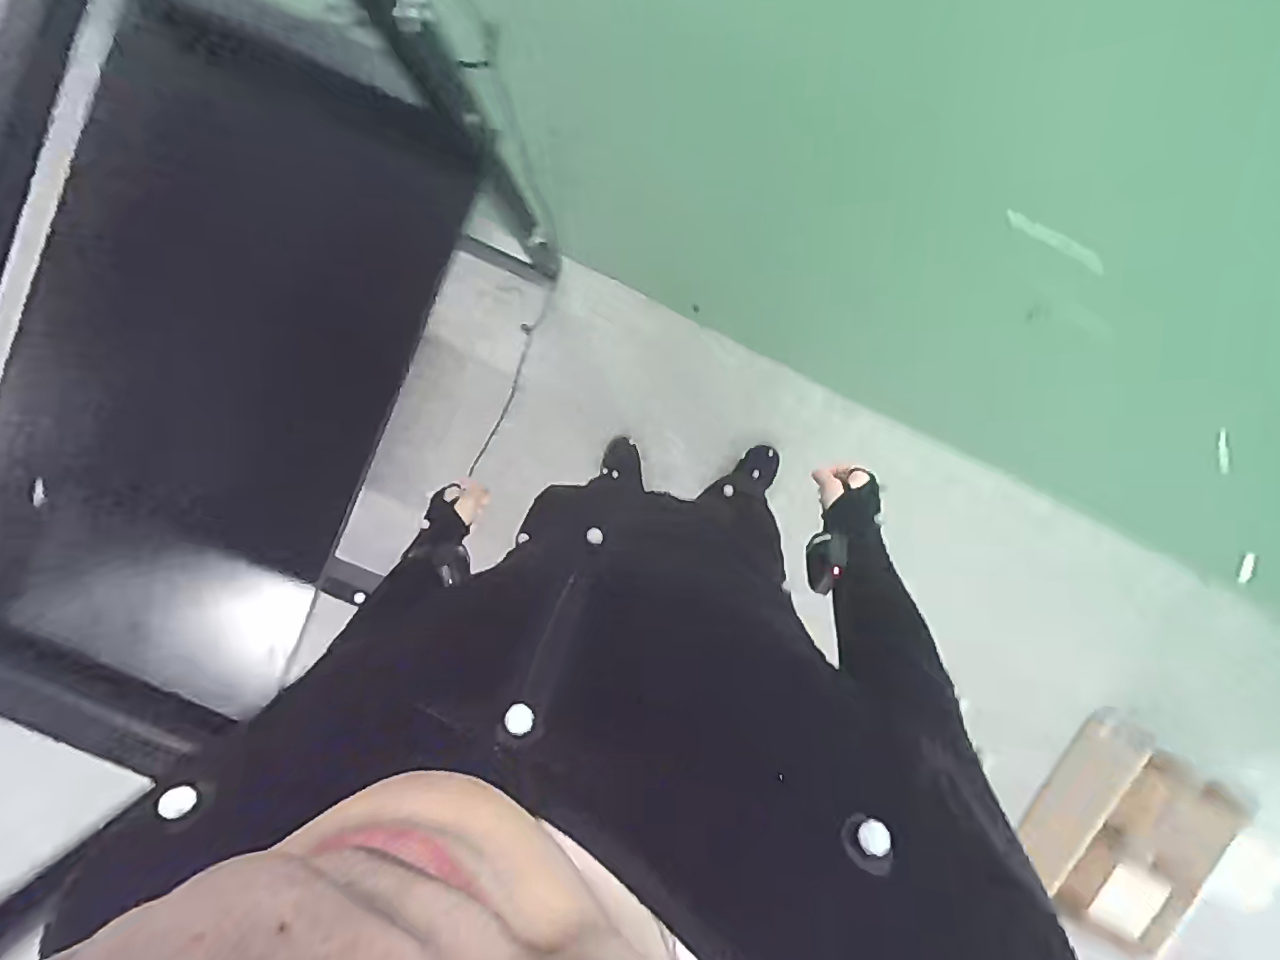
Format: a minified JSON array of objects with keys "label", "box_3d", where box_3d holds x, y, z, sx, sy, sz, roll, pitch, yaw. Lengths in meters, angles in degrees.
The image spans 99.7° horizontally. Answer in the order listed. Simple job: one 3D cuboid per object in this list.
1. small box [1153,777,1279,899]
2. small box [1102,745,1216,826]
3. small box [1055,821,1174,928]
[{"label":"small box","box_3d":[1.531,0.938,1.430,0.168,0.176,0.179,25,97,-4]},{"label":"small box","box_3d":[1.535,0.918,1.593,0.179,0.176,0.168,26,96,-4]},{"label":"small box","box_3d":[1.410,1.170,1.621,0.179,0.176,0.168,28,95,-3]}]
